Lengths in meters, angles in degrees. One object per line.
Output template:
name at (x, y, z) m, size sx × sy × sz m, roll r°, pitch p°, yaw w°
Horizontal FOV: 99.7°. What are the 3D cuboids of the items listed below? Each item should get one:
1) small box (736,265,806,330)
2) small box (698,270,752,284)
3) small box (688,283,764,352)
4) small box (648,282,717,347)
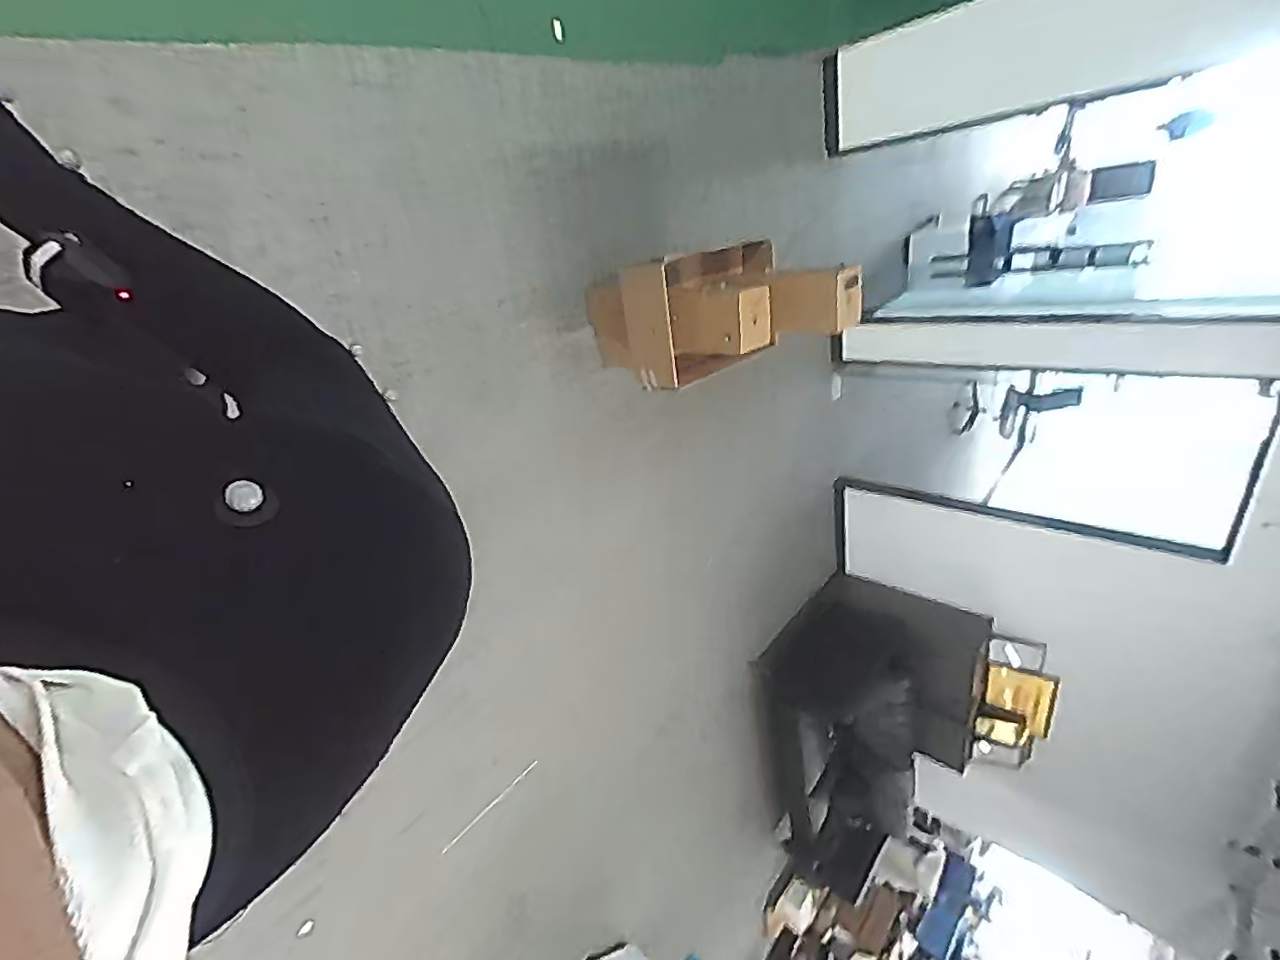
small box at (0.438, -0.610, 1.805) m, size 0.168 × 0.176 × 0.179 m, roll -32°, pitch 123°, yaw -37°
small box at (0.323, -0.645, 1.917) m, size 0.168 × 0.176 × 0.179 m, roll -30°, pitch 123°, yaw -38°
small box at (0.260, -0.496, 1.638) m, size 0.168 × 0.176 × 0.179 m, roll -28°, pitch 122°, yaw -41°
small box at (0.142, -0.535, 1.747) m, size 0.168 × 0.176 × 0.179 m, roll -29°, pitch 122°, yaw -40°
